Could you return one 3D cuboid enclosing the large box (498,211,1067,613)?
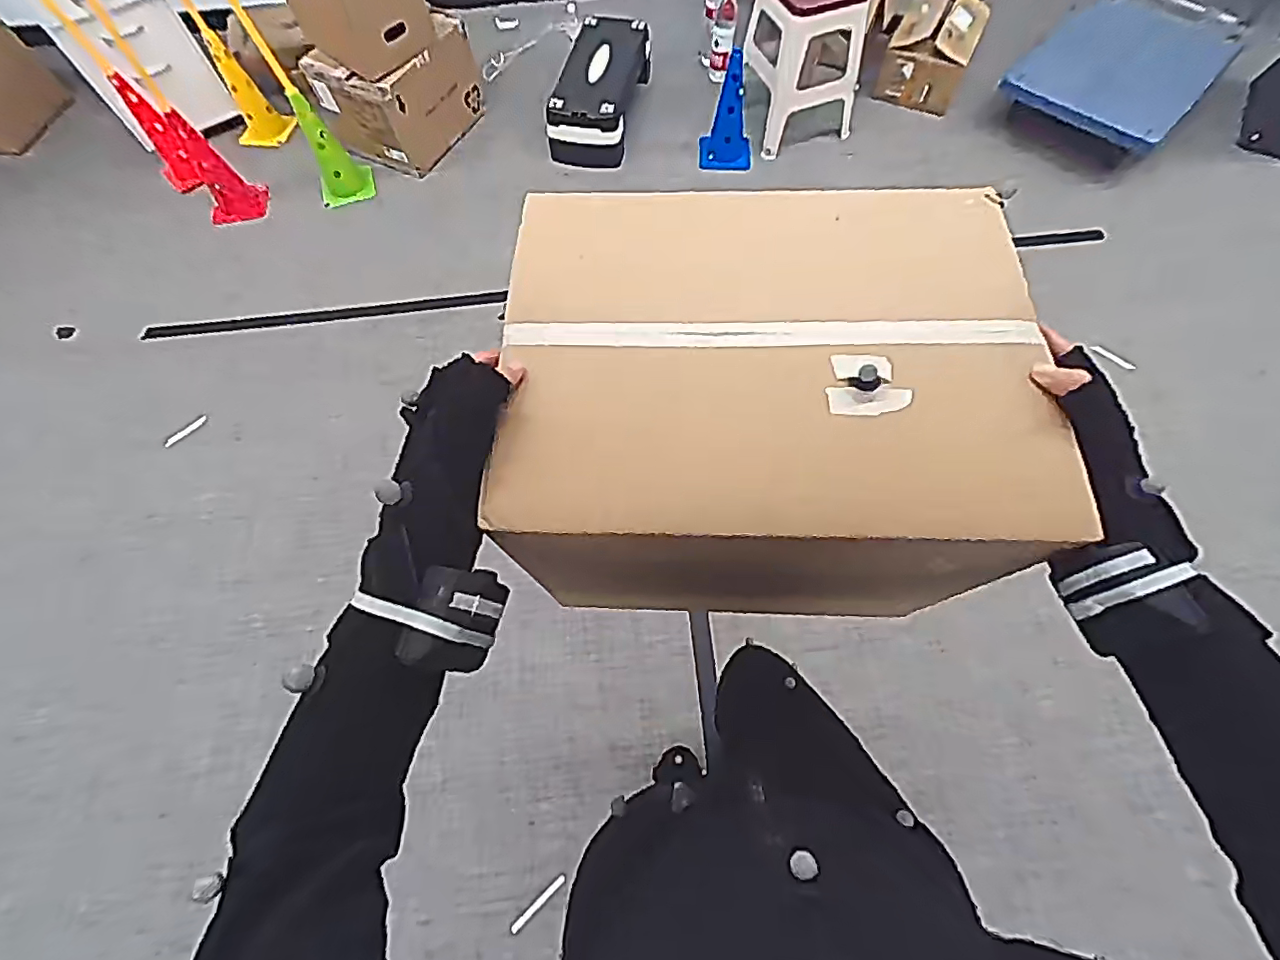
[{"bbox_3d":[0.101,-0.042,0.570,0.408,0.320,0.320,0,67,3],"label":"large box"}]
